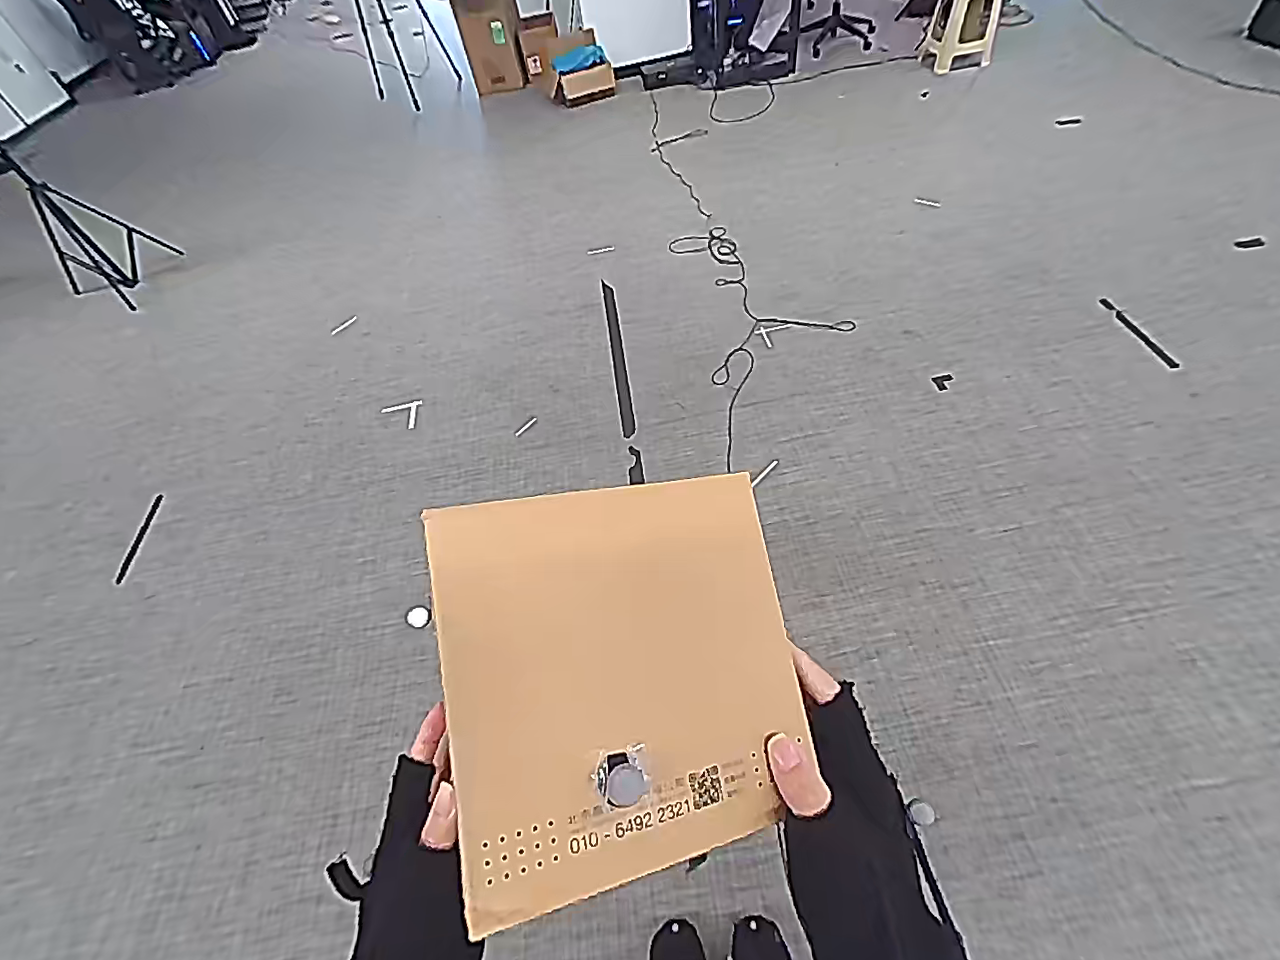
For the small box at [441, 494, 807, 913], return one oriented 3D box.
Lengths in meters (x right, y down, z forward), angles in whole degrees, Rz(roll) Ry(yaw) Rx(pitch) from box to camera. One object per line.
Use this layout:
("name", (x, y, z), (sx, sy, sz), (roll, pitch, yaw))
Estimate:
("small box", (-0.027, 0.117, 0.336), (0.168, 0.179, 0.176), (-7, 77, -20))
